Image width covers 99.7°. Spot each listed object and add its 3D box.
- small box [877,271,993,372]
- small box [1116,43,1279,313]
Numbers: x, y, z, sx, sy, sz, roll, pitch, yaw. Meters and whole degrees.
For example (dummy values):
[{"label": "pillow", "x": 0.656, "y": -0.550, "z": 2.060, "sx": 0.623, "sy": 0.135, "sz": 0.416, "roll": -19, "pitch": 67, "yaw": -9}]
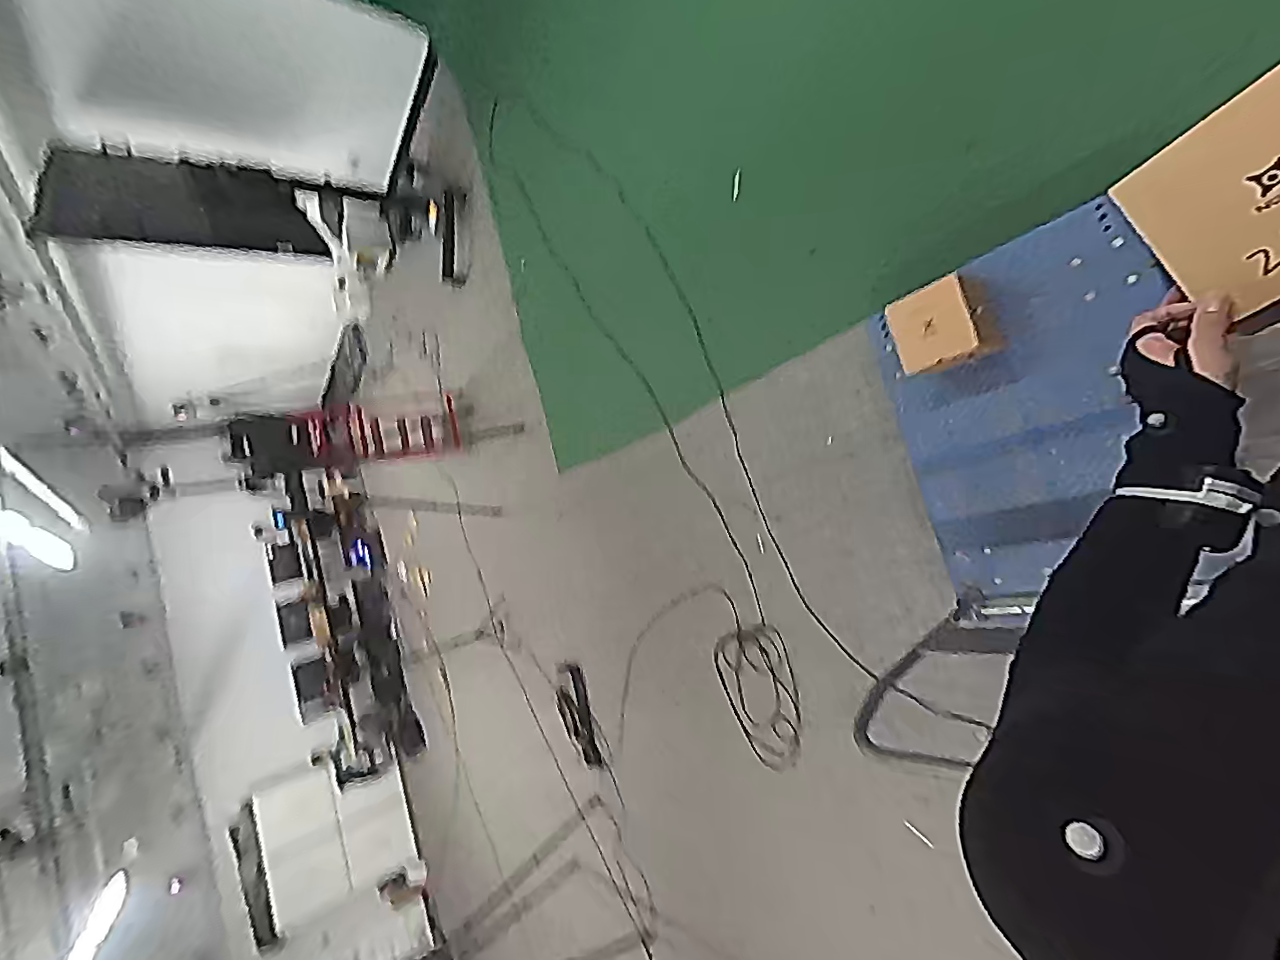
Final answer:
[{"label": "small box", "x": 0.701, "y": -0.371, "z": 1.280, "sx": 0.168, "sy": 0.176, "sz": 0.179, "roll": -20, "pitch": 84, "yaw": 50}, {"label": "small box", "x": 0.593, "y": -0.271, "z": 0.491, "sx": 0.168, "sy": 0.176, "sz": 0.179, "roll": -38, "pitch": 67, "yaw": 51}]
